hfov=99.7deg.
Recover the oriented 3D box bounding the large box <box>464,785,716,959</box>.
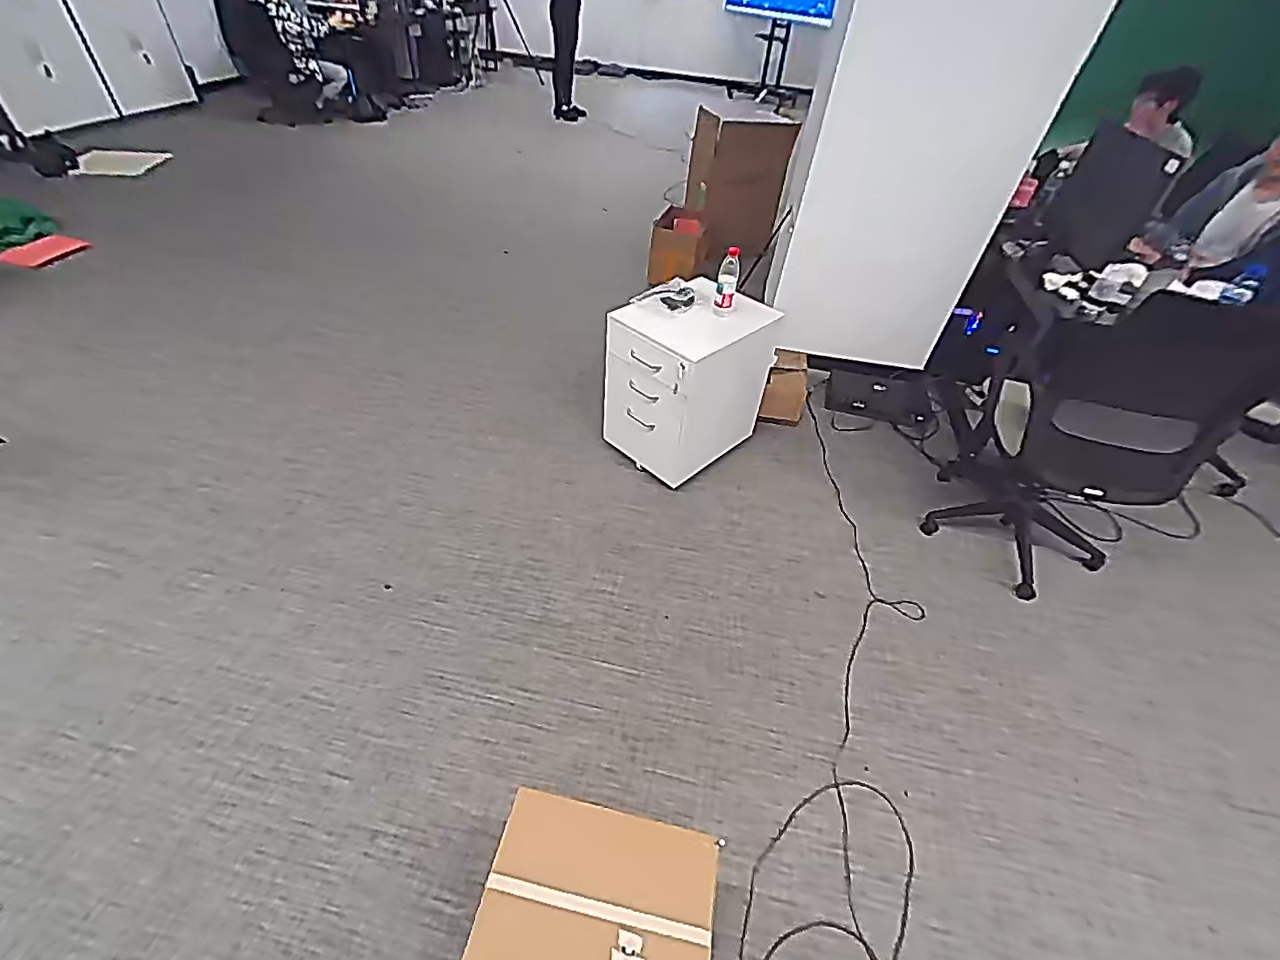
[{"bbox_3d":[-0.088,0.853,1.057,0.408,0.320,0.320,12,45,5],"label":"large box"}]
